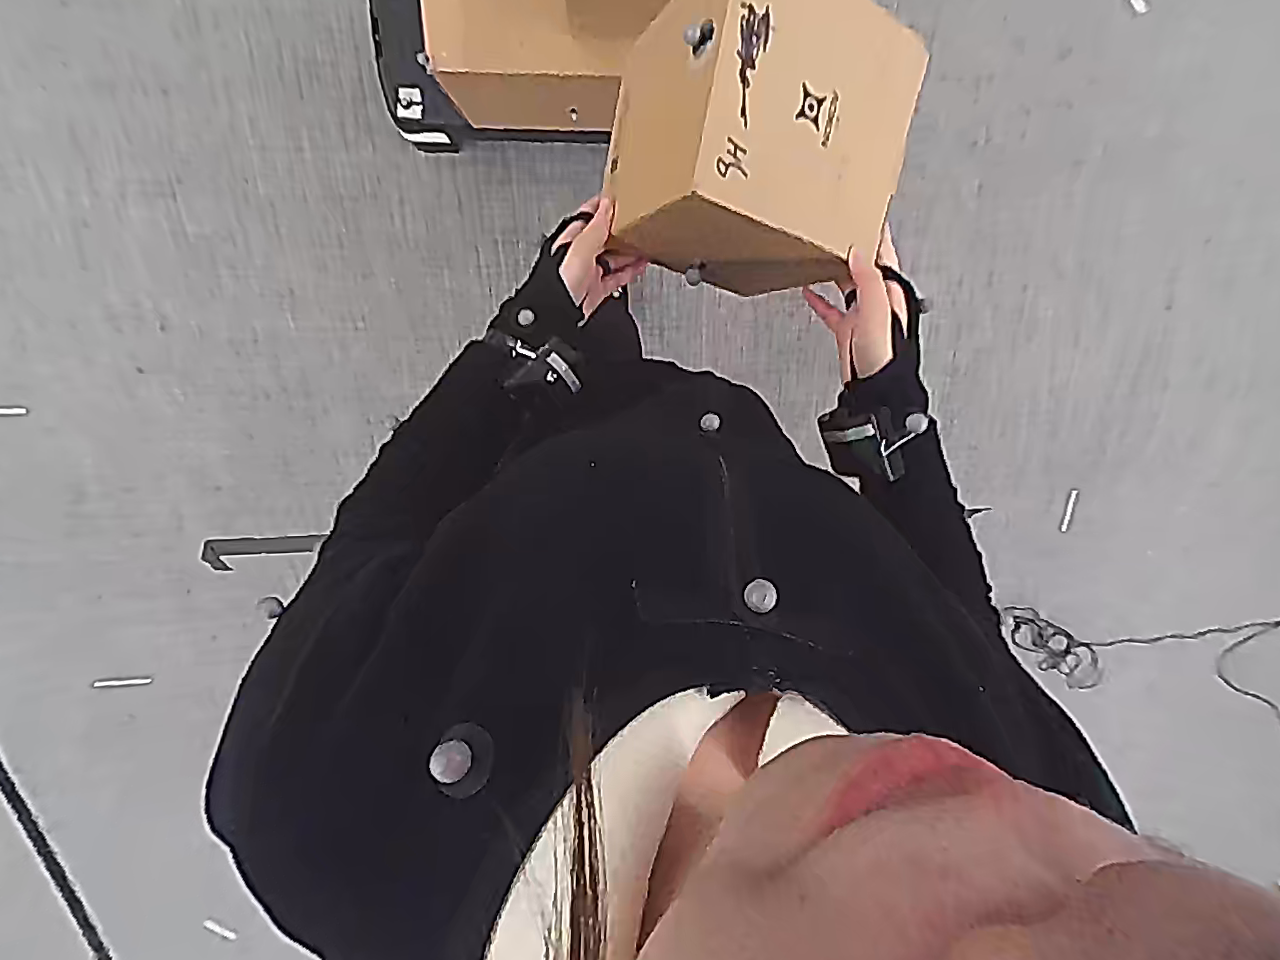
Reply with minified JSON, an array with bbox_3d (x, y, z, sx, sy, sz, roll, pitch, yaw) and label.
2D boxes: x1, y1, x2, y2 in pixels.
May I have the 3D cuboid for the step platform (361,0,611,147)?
[{"bbox_3d":[-0.184,-0.832,1.095,0.684,0.204,0.286,3,109,-6],"label":"step platform"}]

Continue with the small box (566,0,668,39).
[{"bbox_3d":[-0.004,-0.667,0.655,0.179,0.176,0.168,-1,110,-4],"label":"small box"}]

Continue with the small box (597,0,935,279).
[{"bbox_3d":[0.088,-0.272,0.430,0.179,0.176,0.168,8,96,-29],"label":"small box"}]

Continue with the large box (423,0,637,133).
[{"bbox_3d":[-0.110,-0.772,0.870,0.408,0.320,0.320,-2,109,-4],"label":"large box"}]
